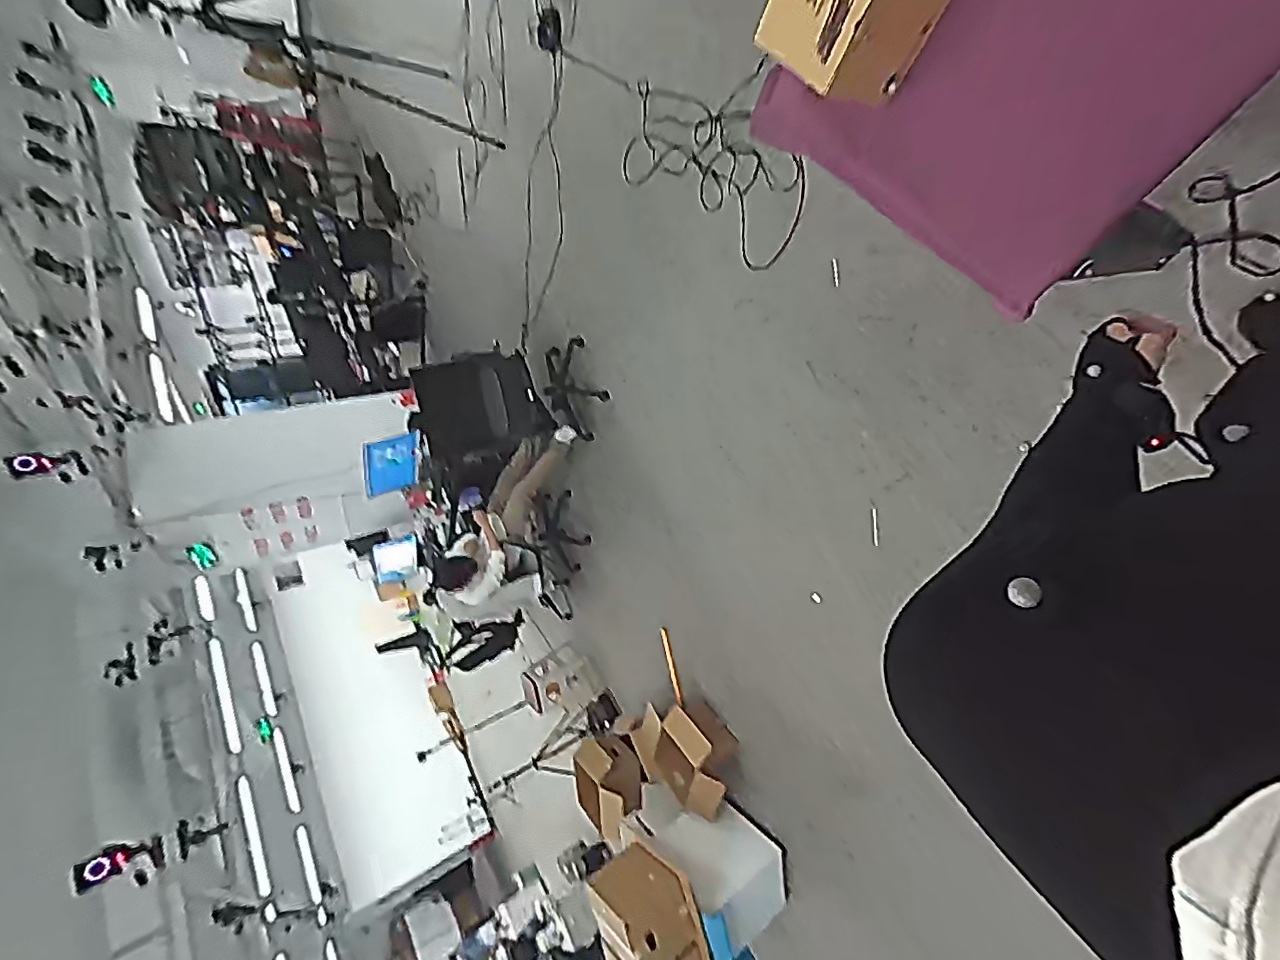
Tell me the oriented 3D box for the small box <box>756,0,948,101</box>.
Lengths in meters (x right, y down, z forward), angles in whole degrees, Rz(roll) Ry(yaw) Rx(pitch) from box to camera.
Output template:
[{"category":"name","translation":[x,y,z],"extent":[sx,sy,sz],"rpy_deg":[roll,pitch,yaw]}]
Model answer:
[{"category":"small box","translation":[0.315,-0.693,0.801],"extent":[0.179,0.176,0.168],"rpy_deg":[56,143,23]}]
